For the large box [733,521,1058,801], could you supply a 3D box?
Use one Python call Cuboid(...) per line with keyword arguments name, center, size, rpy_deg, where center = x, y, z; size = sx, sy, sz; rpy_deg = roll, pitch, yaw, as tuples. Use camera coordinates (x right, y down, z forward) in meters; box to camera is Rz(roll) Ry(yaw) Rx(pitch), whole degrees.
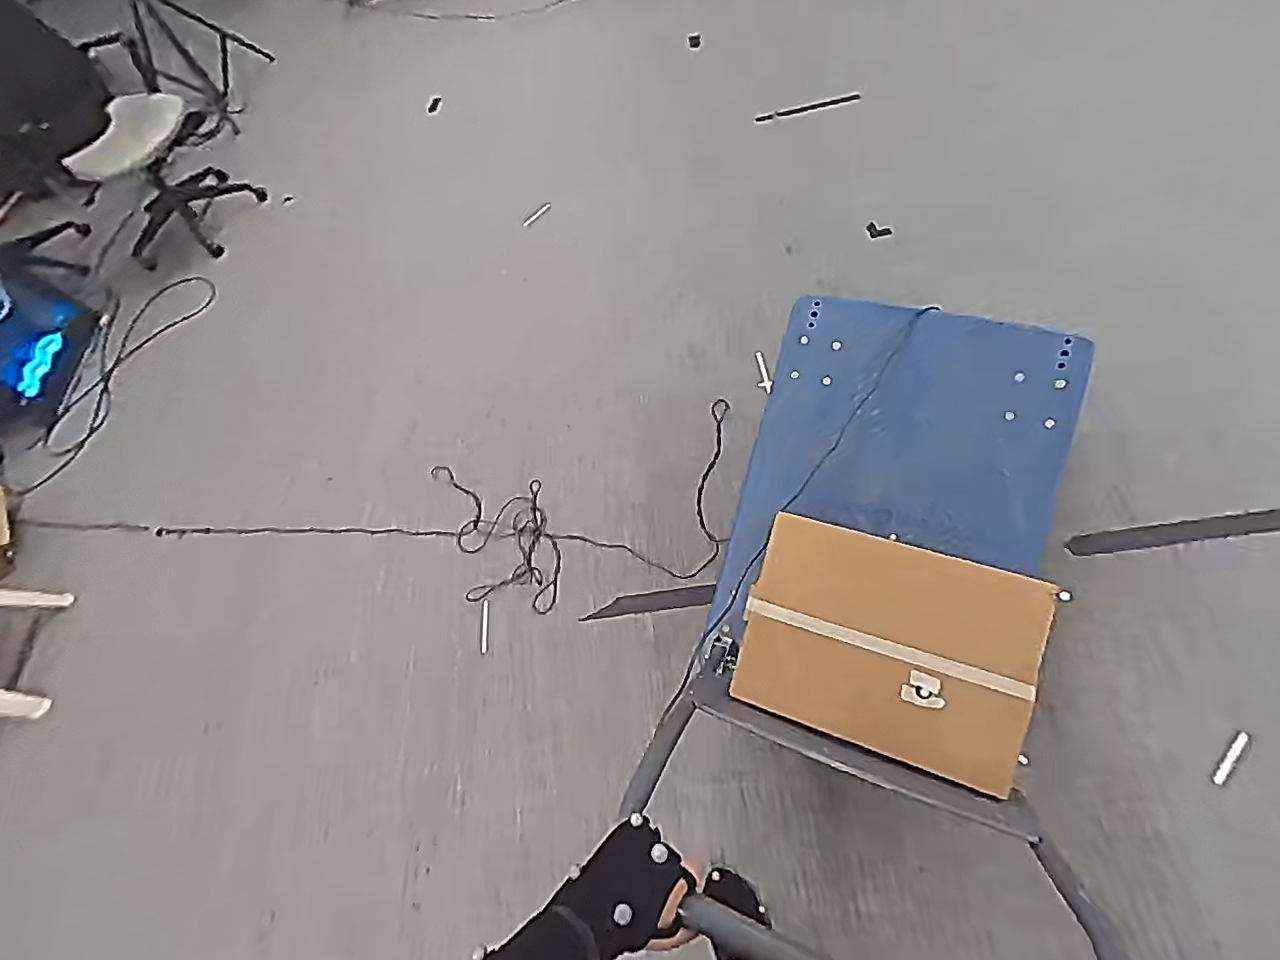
Cuboid(name="large box", center=(0.408, 0.273, 0.956), size=(0.408, 0.320, 0.320), rpy_deg=(15, 89, 17))
